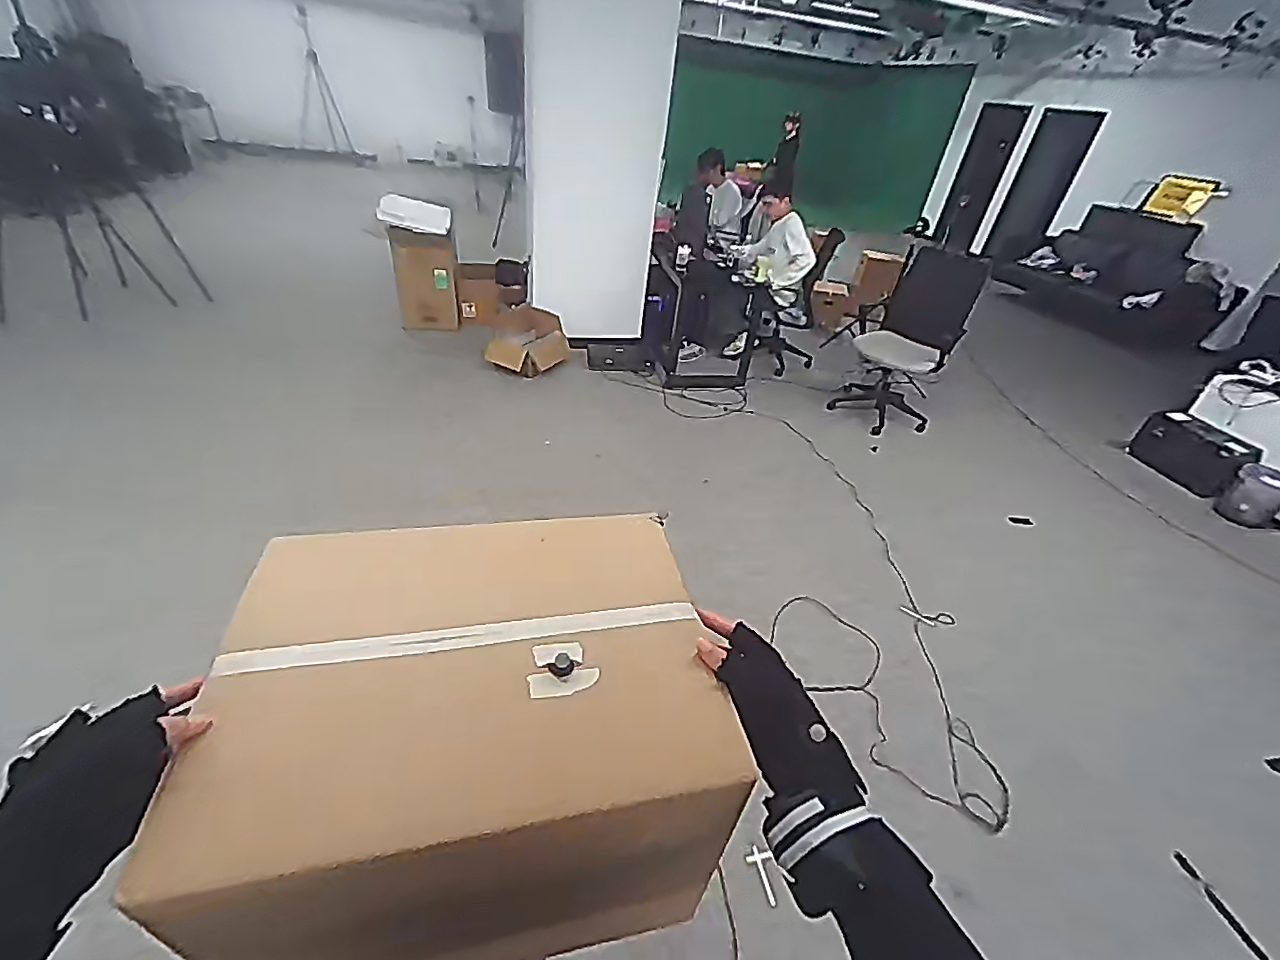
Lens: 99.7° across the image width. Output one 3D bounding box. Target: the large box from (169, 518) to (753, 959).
[{"bbox_3d":[-0.152,0.265,0.578,0.408,0.320,0.320,-2,37,-15],"label":"large box"}]
